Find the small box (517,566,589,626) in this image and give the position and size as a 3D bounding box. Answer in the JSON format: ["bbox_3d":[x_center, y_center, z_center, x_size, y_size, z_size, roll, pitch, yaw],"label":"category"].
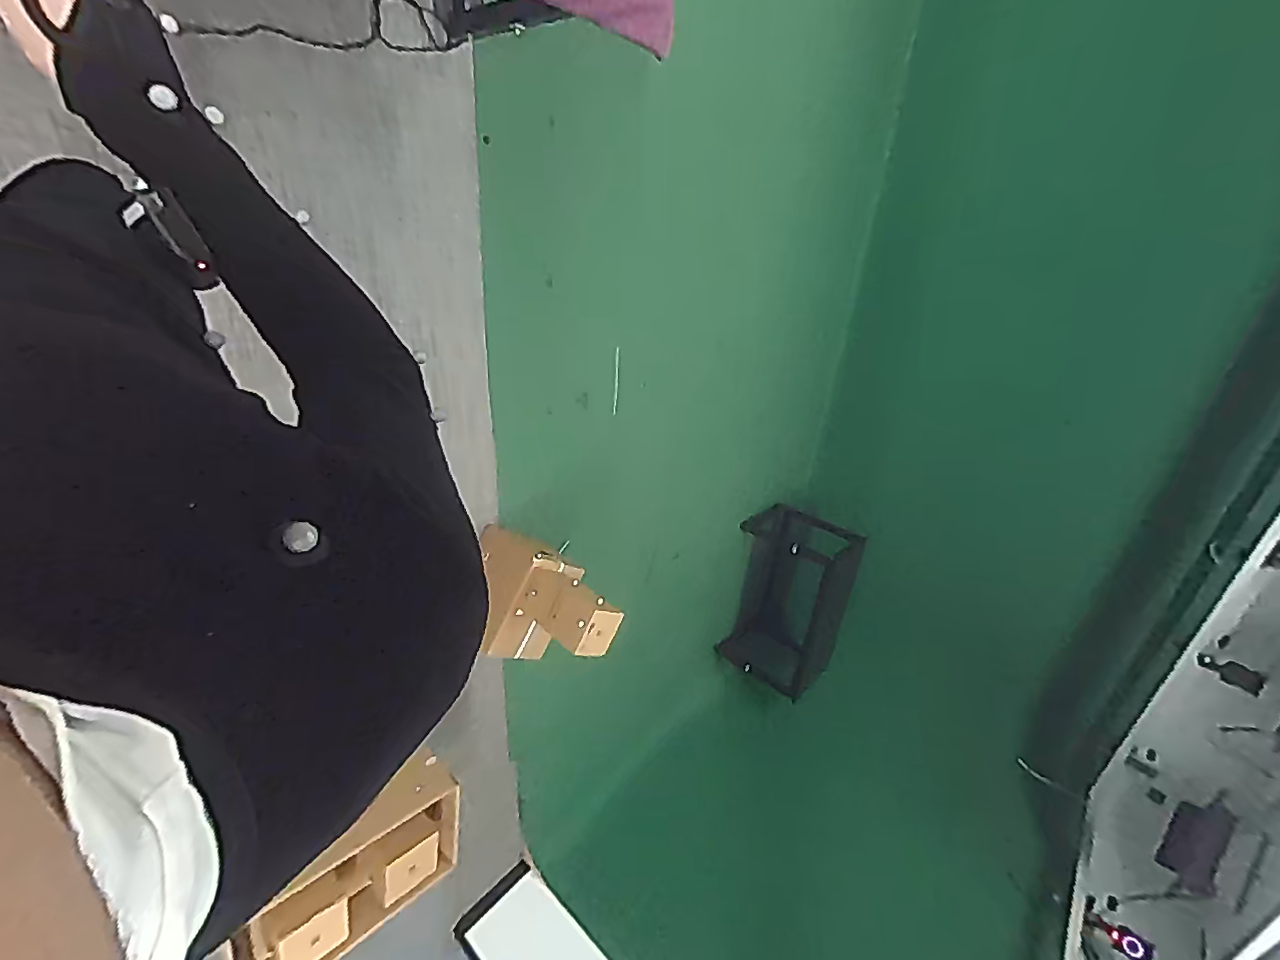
[{"bbox_3d":[-0.317,0.433,1.997,0.179,0.176,0.168,29,87,-54],"label":"small box"}]

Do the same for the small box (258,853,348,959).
[{"bbox_3d":[-0.923,1.183,1.481,0.168,0.176,0.179,-14,120,-48],"label":"small box"}]

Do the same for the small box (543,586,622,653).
[{"bbox_3d":[-0.201,0.487,1.893,0.179,0.176,0.168,28,88,-55],"label":"small box"}]
